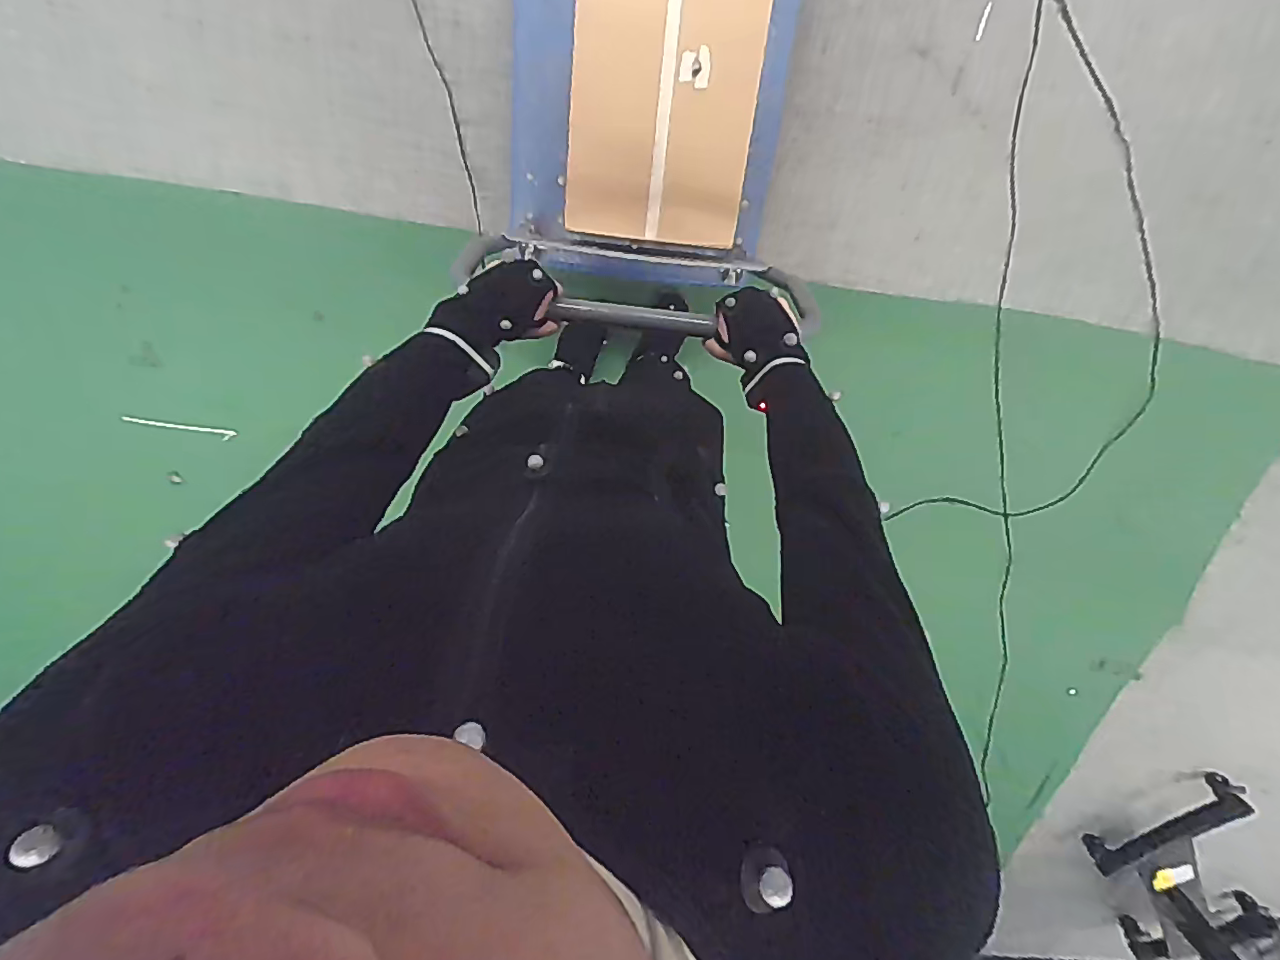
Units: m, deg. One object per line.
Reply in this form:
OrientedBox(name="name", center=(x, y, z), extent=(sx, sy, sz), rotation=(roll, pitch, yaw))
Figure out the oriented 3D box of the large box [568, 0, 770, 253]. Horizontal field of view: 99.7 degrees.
OrientedBox(name="large box", center=(0.037, -0.674, 1.061), extent=(0.320, 0.320, 0.408), rotation=(5, 112, -4))
